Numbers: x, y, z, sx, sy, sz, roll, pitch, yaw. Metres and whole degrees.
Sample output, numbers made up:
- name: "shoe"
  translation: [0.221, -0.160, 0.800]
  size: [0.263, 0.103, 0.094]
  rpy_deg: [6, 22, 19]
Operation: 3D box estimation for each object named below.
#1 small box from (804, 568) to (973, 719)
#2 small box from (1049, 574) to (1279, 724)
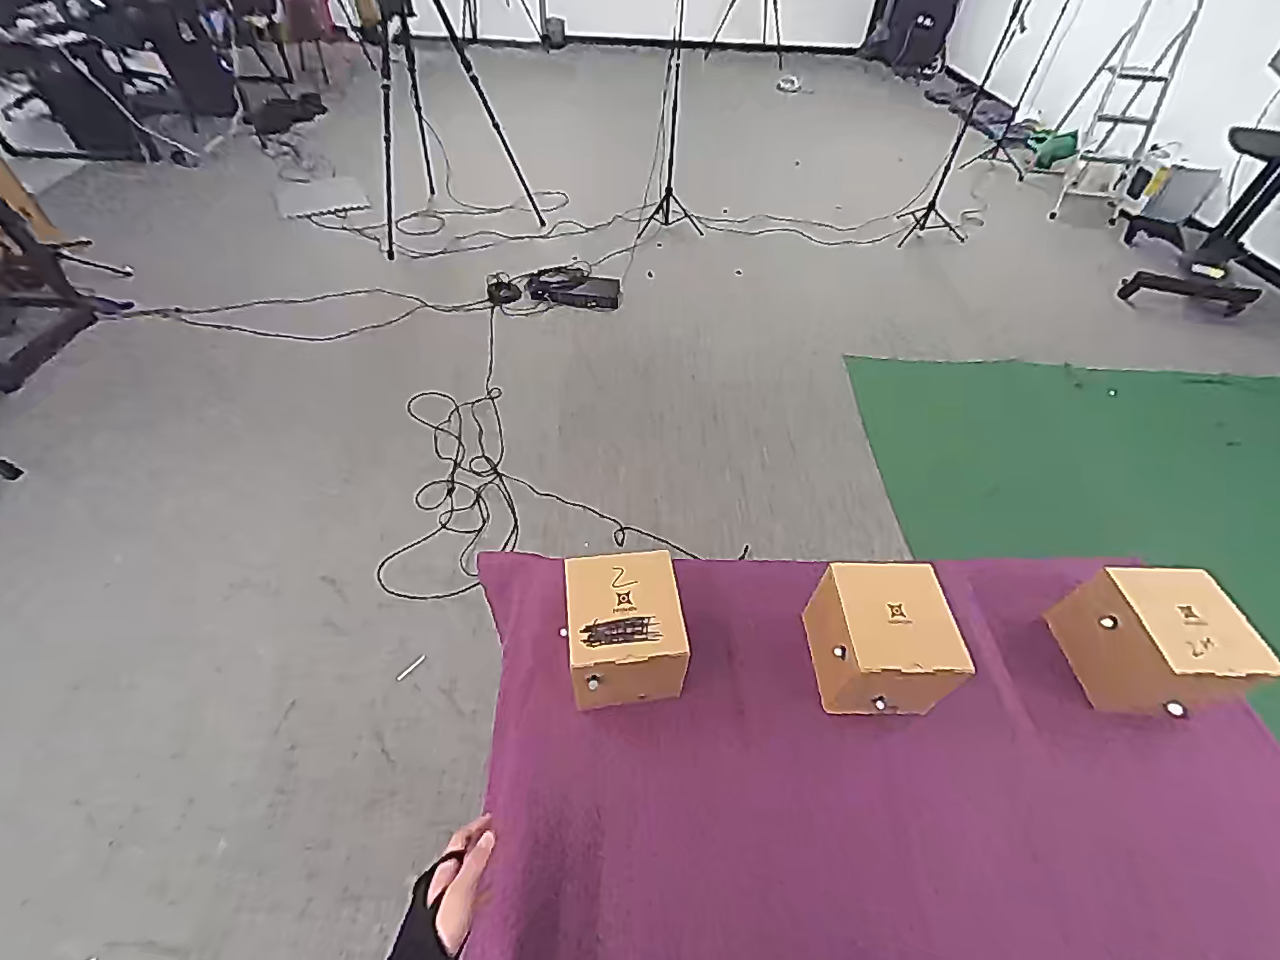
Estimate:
- name: "small box"
  translation: [0.373, 0.259, 0.855]
  size: [0.168, 0.176, 0.179]
  rpy_deg: [2, 49, -3]
- name: "small box"
  translation: [0.814, 0.271, 0.867]
  size: [0.168, 0.176, 0.179]
  rpy_deg: [2, 49, -1]
